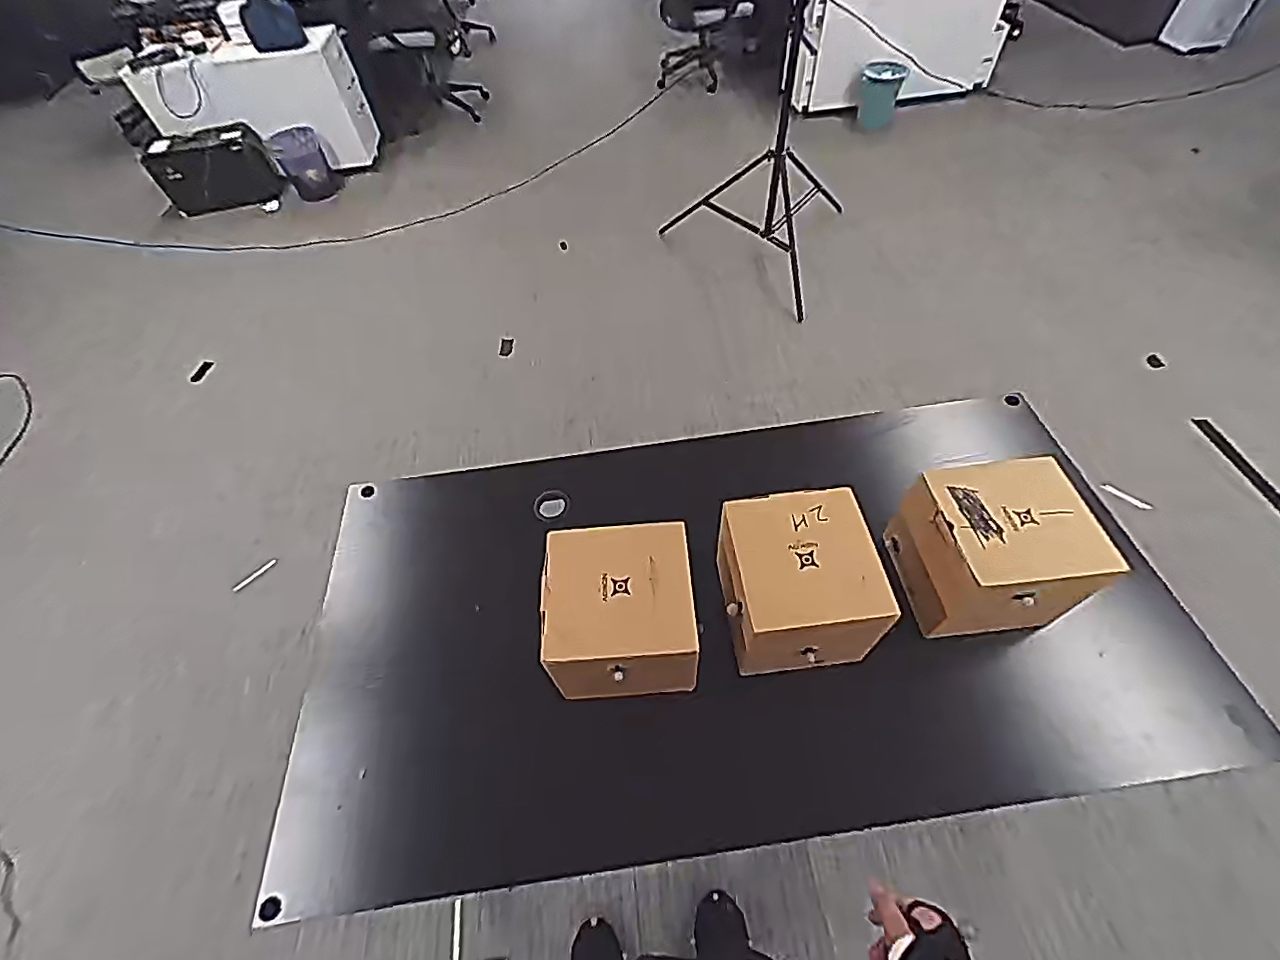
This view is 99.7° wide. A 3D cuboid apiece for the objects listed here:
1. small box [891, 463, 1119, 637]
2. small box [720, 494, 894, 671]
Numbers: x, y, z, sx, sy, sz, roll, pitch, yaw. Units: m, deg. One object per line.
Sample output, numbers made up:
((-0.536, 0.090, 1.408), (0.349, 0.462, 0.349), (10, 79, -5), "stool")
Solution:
((0.461, 0.099, 0.726), (0.179, 0.176, 0.168), (-6, 54, -1), "small box")
((0.203, 0.143, 0.716), (0.168, 0.176, 0.179), (-7, 54, -1), "small box")
